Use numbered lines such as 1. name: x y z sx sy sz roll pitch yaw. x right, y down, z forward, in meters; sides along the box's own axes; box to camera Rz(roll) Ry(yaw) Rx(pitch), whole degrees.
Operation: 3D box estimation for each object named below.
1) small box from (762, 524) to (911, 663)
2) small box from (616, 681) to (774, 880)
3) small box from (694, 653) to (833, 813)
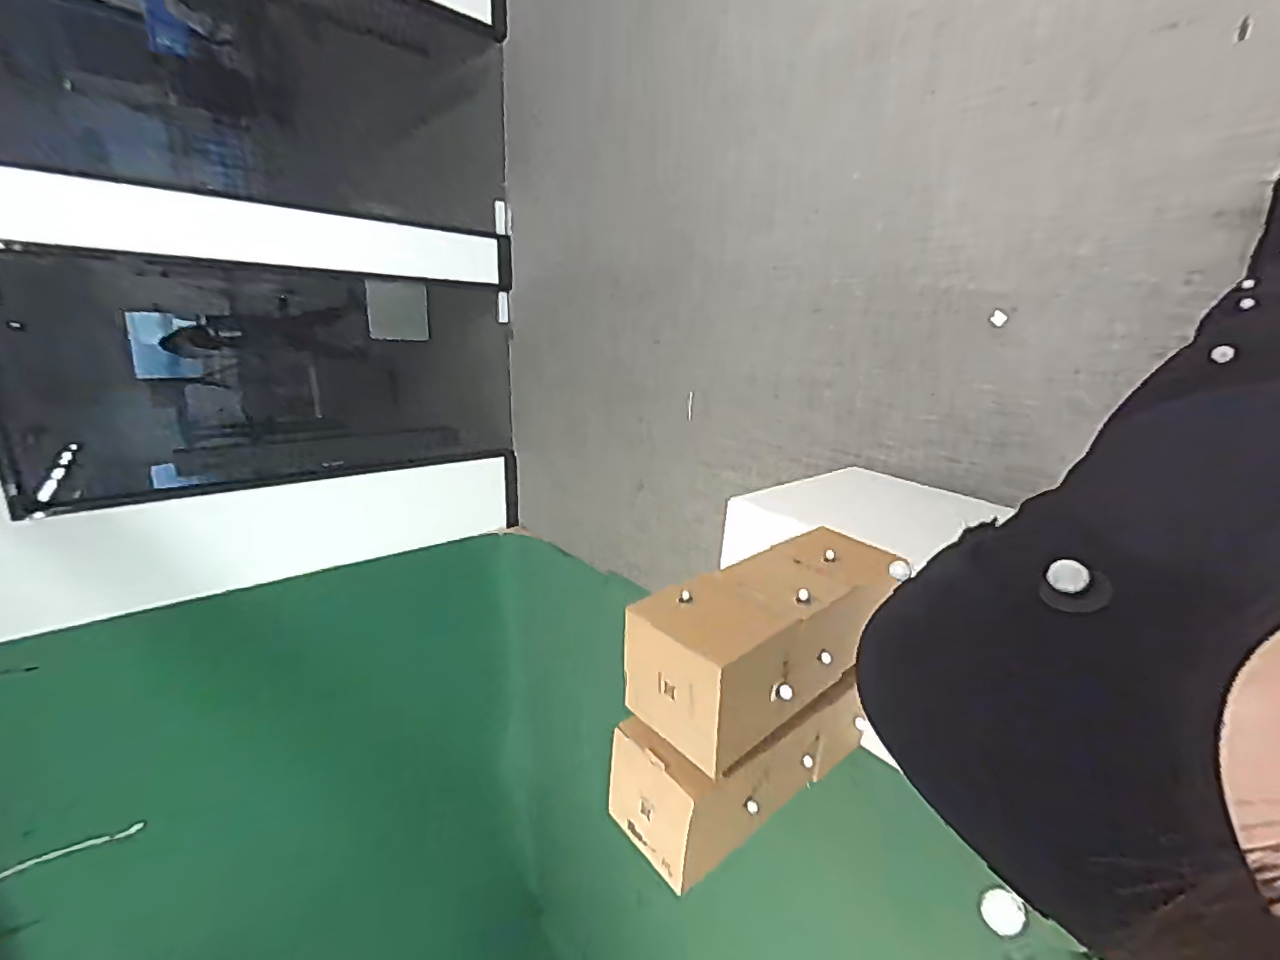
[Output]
1. small box: 0.351 0.190 0.975 0.179 0.176 0.168 24 118 45
2. small box: 0.085 0.446 0.837 0.168 0.176 0.179 24 115 46
3. small box: 0.205 0.427 0.947 0.179 0.176 0.168 24 116 46
